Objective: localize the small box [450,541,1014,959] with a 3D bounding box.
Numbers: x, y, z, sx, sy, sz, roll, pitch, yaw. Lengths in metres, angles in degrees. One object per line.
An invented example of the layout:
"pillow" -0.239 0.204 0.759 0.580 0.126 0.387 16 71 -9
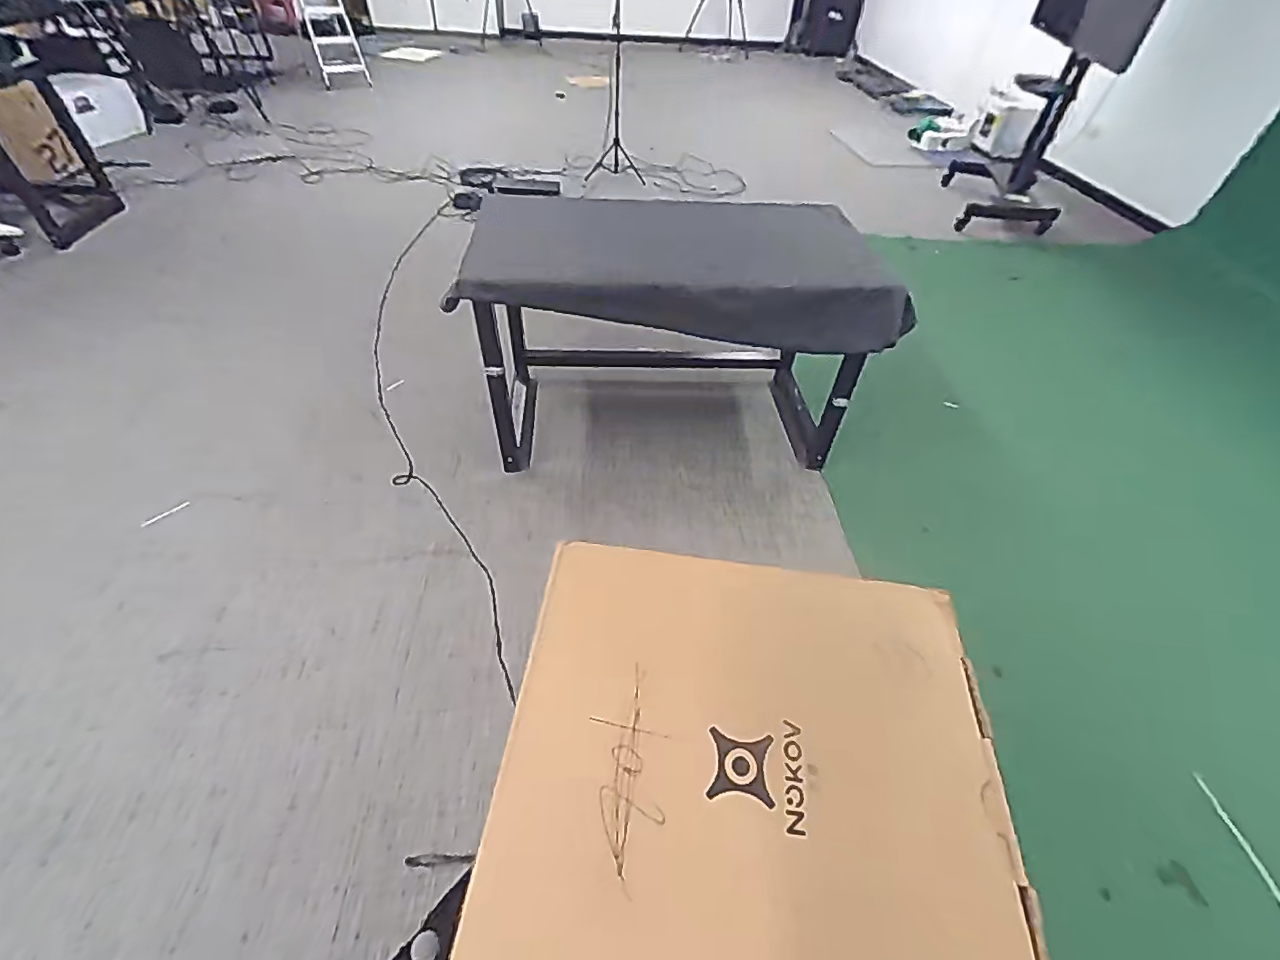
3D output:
"small box" 0.034 0.151 0.264 0.179 0.176 0.168 6 51 3
